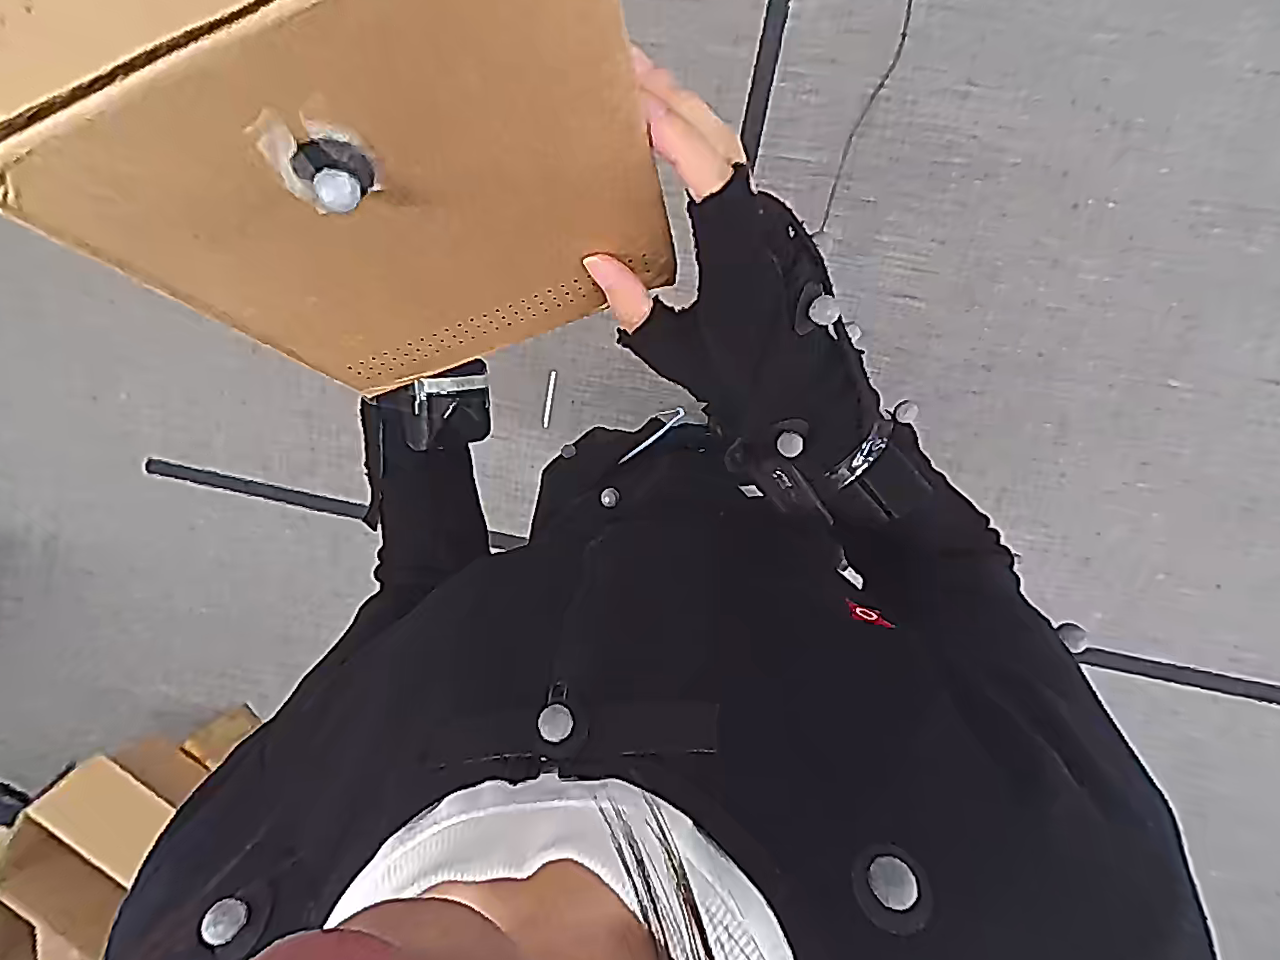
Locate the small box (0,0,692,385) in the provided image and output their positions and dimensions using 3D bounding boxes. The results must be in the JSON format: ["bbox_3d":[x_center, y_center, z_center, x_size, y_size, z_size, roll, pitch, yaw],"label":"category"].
[{"bbox_3d":[-0.089,-0.159,0.221,0.179,0.176,0.168,-17,76,7],"label":"small box"}]
